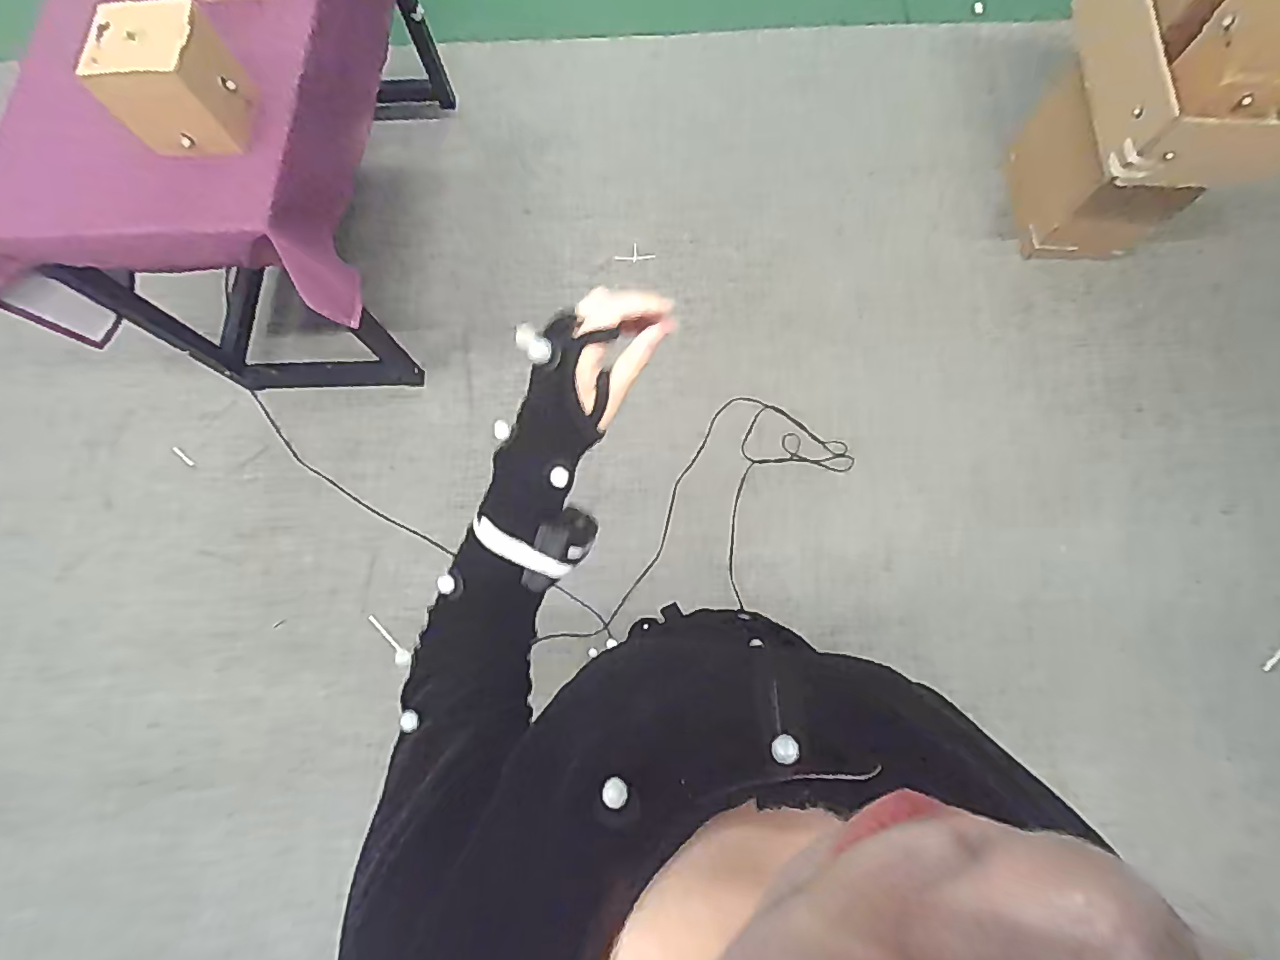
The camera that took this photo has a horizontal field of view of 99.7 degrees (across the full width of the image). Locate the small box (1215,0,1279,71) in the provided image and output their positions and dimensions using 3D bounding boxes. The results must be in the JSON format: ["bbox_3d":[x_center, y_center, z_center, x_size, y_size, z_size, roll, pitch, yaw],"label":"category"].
[{"bbox_3d":[1.316,-0.946,1.066,0.179,0.176,0.168,5,74,5],"label":"small box"}]

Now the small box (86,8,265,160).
[{"bbox_3d":[-0.849,-0.729,1.009,0.179,0.176,0.168,0,74,2],"label":"small box"}]
